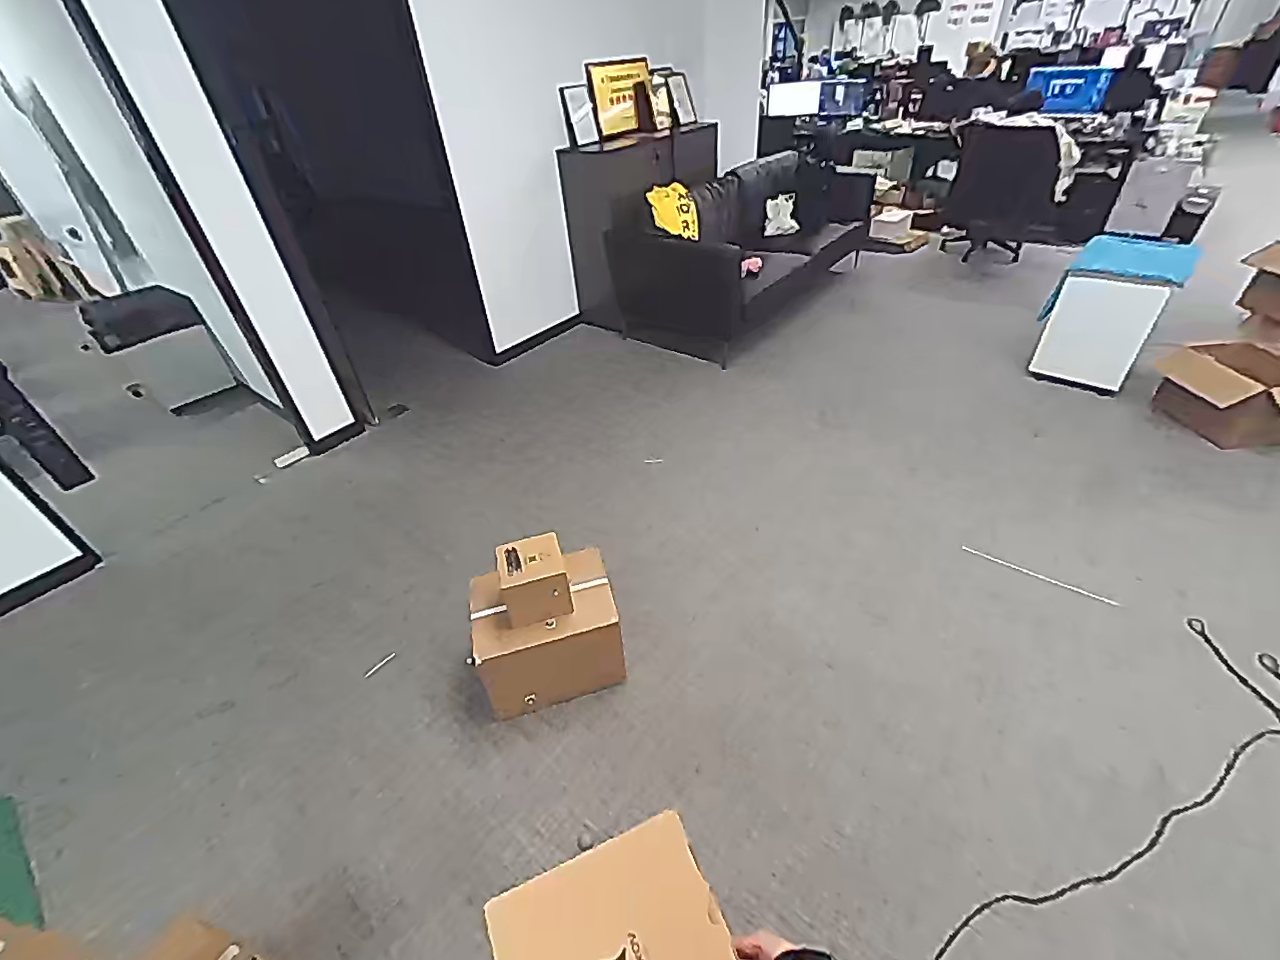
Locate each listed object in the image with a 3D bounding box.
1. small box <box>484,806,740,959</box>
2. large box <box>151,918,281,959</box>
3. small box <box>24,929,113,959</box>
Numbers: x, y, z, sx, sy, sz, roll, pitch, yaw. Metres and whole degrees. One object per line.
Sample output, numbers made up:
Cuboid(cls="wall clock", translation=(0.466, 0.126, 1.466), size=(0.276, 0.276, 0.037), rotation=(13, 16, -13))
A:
Cuboid(cls="small box", translation=(-0.026, 0.423, 0.468), size=(0.179, 0.176, 0.168), rotation=(-12, 51, -24))
Cuboid(cls="large box", translation=(-0.798, 1.101, 0.944), size=(0.320, 0.320, 0.408), rotation=(12, 43, 23))
Cuboid(cls="small box", translation=(-0.816, 0.758, 0.720), size=(0.179, 0.176, 0.168), rotation=(18, 44, 25))
